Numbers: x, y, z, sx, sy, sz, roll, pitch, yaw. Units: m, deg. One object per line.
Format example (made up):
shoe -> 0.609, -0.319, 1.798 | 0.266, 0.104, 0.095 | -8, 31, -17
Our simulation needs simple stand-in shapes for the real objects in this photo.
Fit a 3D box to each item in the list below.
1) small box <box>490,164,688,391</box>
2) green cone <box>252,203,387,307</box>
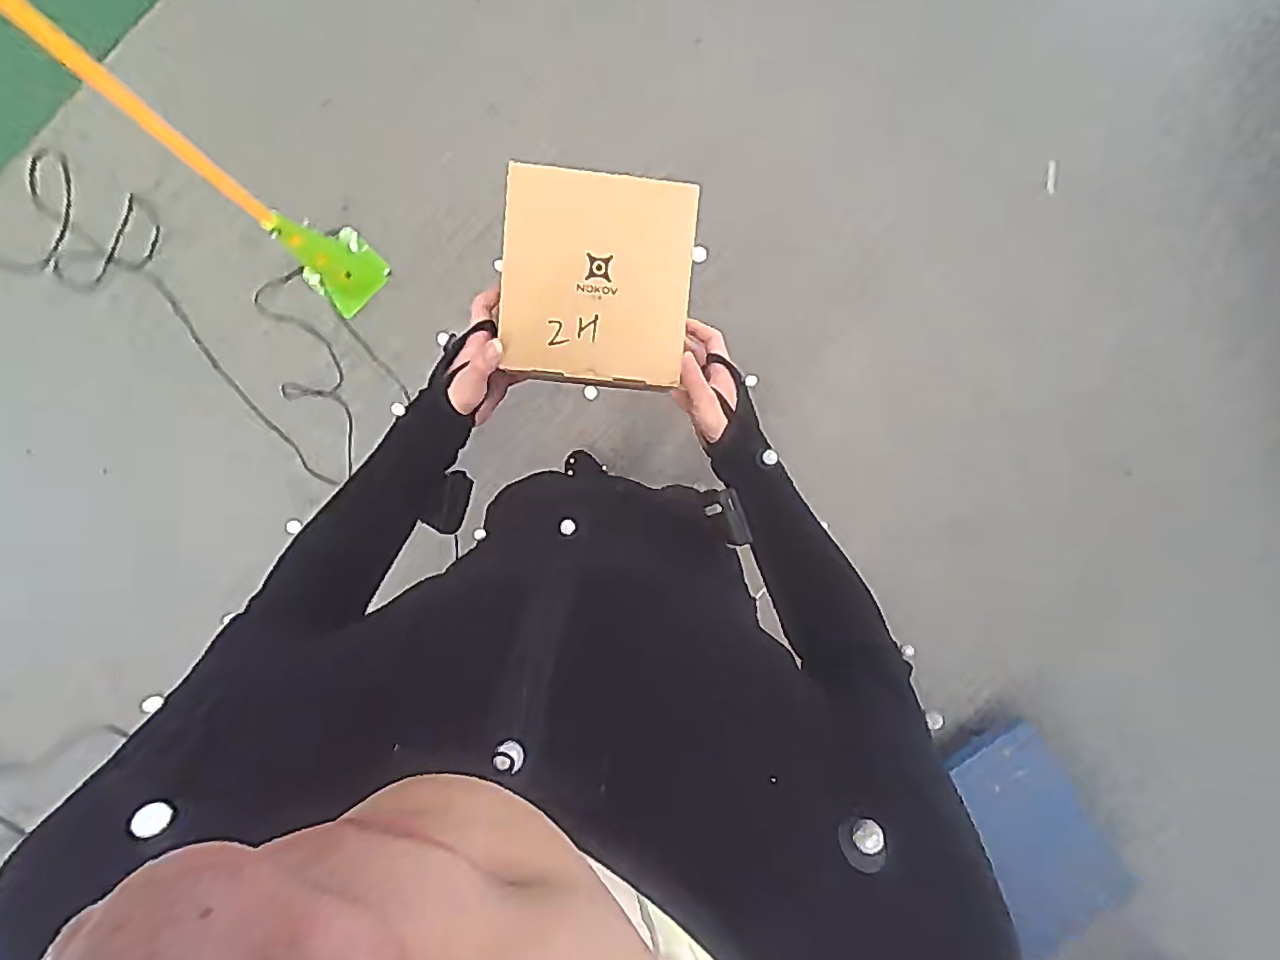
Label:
small box -> -0.051, -0.190, 0.561 | 0.168, 0.176, 0.179 | 5, 98, -4
green cone -> -0.877, -0.634, 1.426 | 0.200, 0.368, 0.202 | 45, 92, -2
